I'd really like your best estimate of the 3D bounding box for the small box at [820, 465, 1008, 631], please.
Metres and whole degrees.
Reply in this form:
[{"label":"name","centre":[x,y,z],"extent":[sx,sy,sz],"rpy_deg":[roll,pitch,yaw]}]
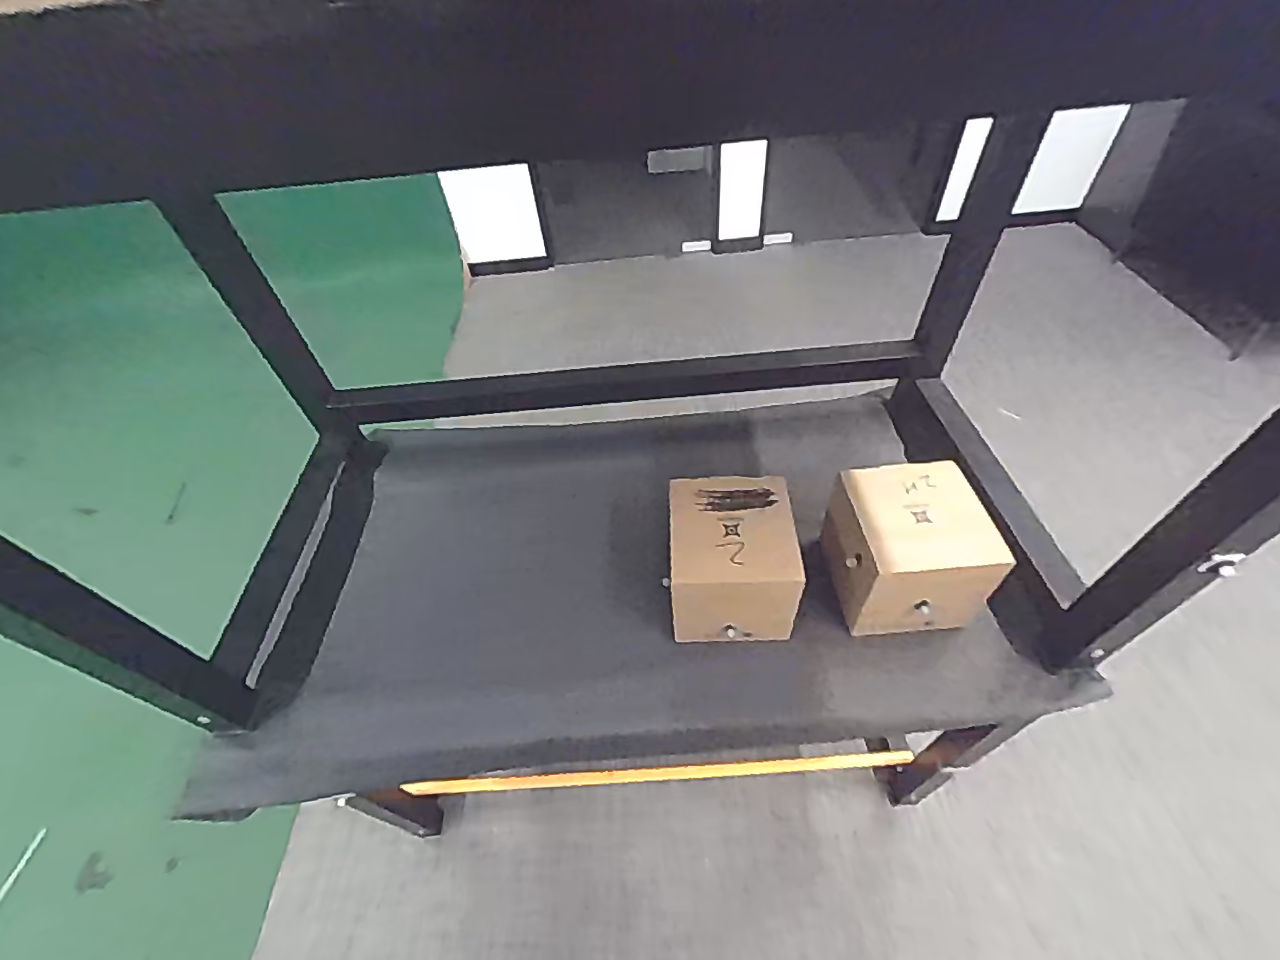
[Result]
[{"label":"small box","centre":[0.371,0.103,0.772],"extent":[0.168,0.176,0.179],"rpy_deg":[-5,47,1]}]
